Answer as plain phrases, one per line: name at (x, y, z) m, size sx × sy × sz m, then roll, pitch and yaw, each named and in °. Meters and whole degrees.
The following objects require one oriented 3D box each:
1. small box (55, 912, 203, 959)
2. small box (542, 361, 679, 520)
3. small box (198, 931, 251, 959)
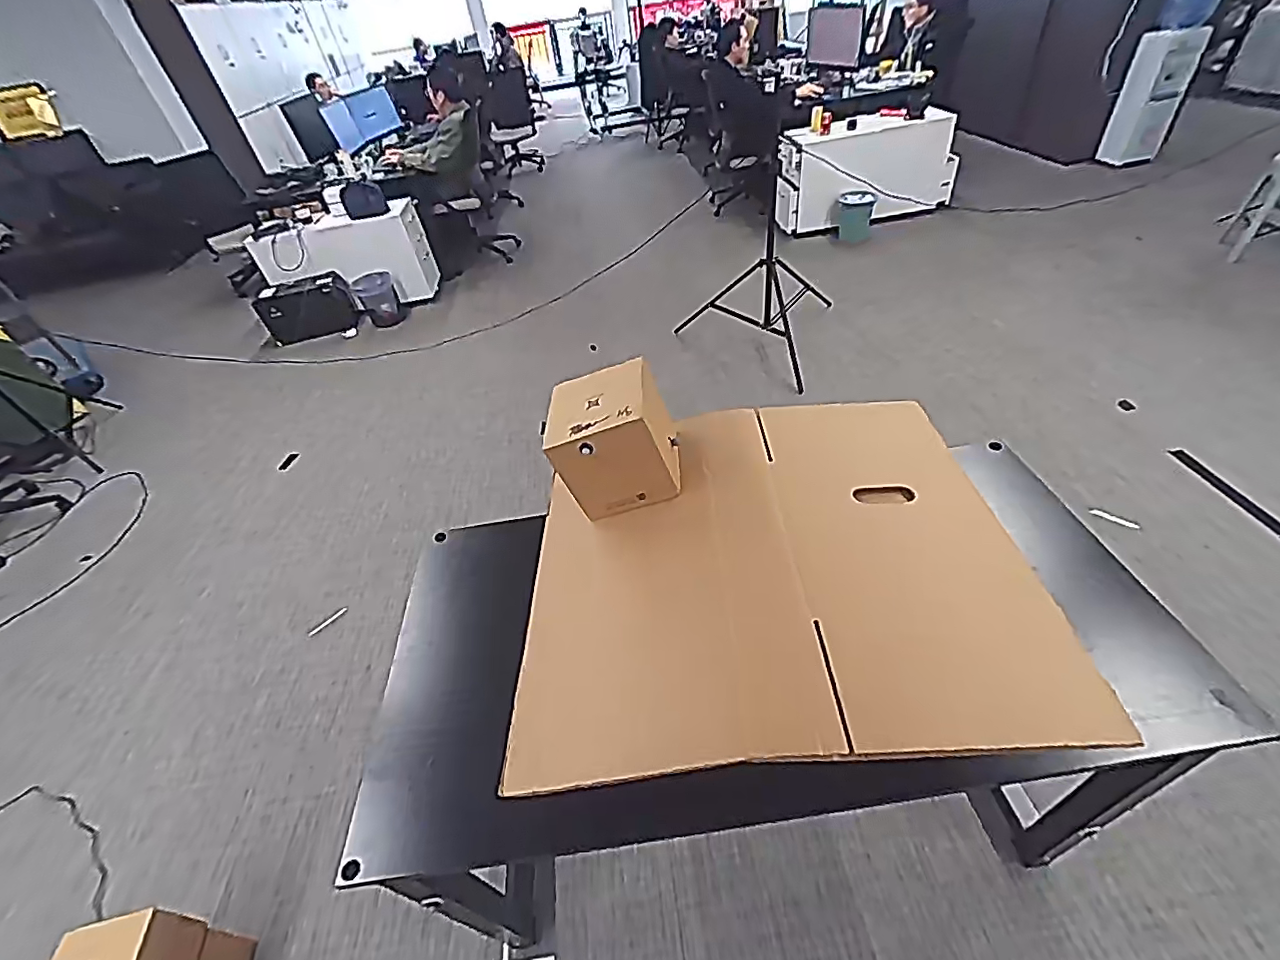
small box at (-0.988, 0.966, 1.028) m, size 0.168 × 0.176 × 0.179 m, roll -14°, pitch 41°, yaw -5°
small box at (-0.040, -0.063, 0.897) m, size 0.168 × 0.176 × 0.179 m, roll -17°, pitch 39°, yaw 15°
small box at (-0.965, 1.088, 1.133) m, size 0.168 × 0.176 × 0.179 m, roll -12°, pitch 43°, yaw -2°
